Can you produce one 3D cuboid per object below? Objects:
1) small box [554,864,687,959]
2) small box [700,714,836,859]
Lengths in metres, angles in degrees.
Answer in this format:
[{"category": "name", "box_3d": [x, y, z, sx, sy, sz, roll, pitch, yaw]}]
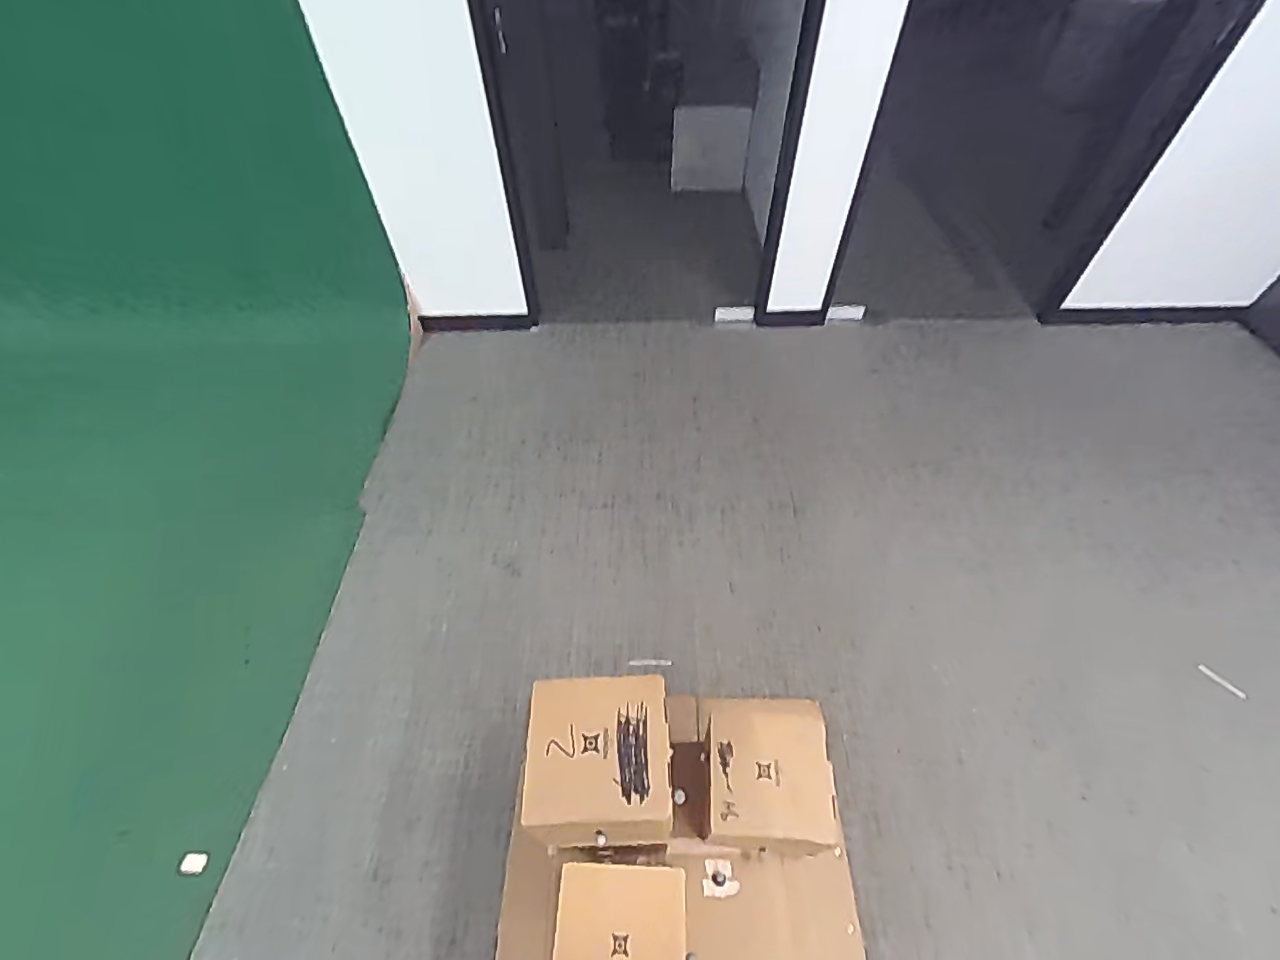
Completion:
[{"category": "small box", "box_3d": [-0.026, 0.632, 0.726, 0.168, 0.176, 0.179, 2, 52, 1]}, {"category": "small box", "box_3d": [0.189, 0.482, 0.846, 0.179, 0.176, 0.168, 2, 51, 5]}]
